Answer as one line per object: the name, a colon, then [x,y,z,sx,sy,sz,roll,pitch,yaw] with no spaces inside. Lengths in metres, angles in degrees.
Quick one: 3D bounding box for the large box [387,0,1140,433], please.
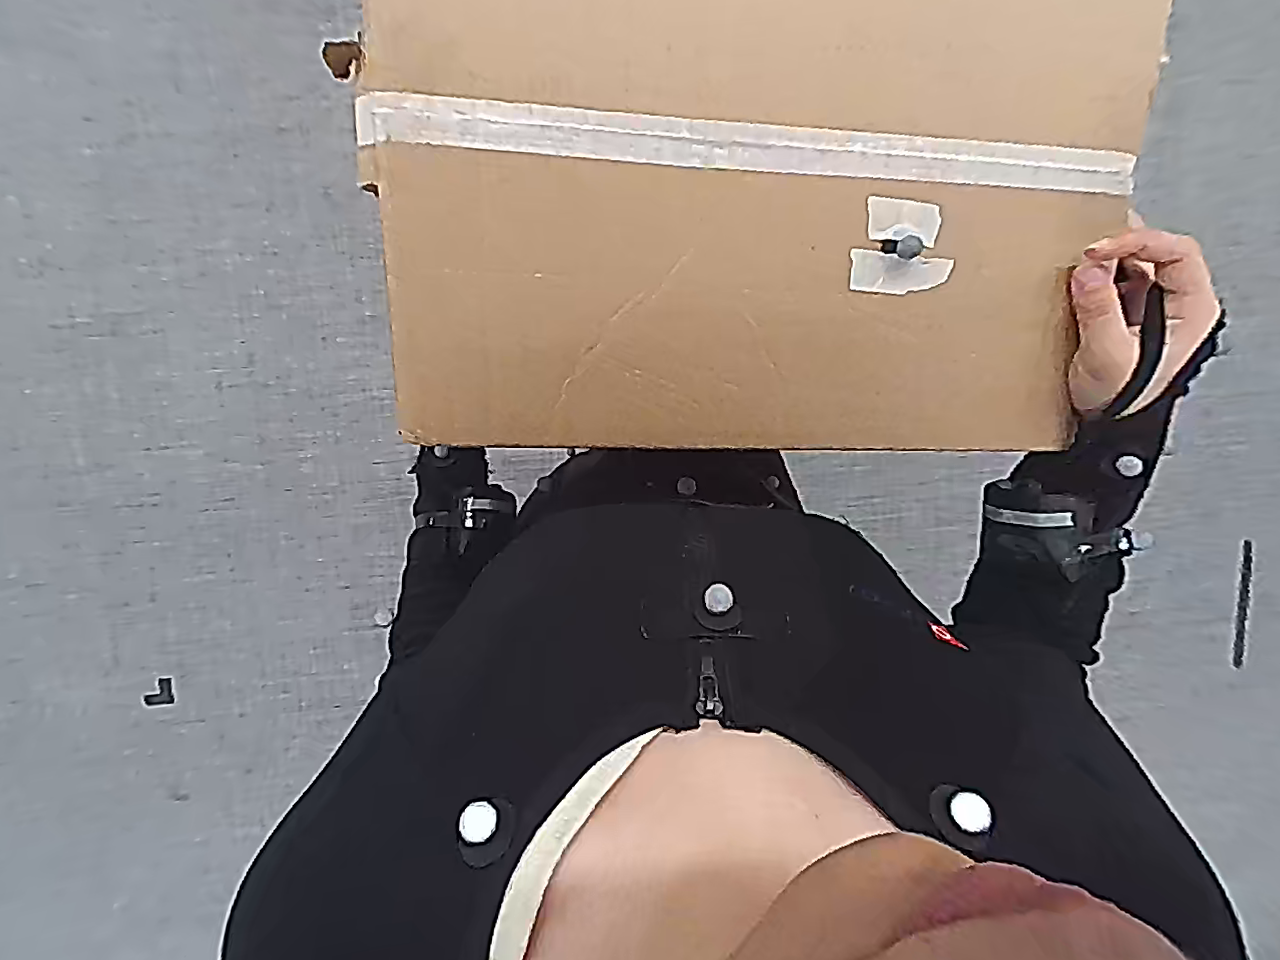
large box: [0.053,-0.214,0.432,0.408,0.320,0.320,0,104,-9]
